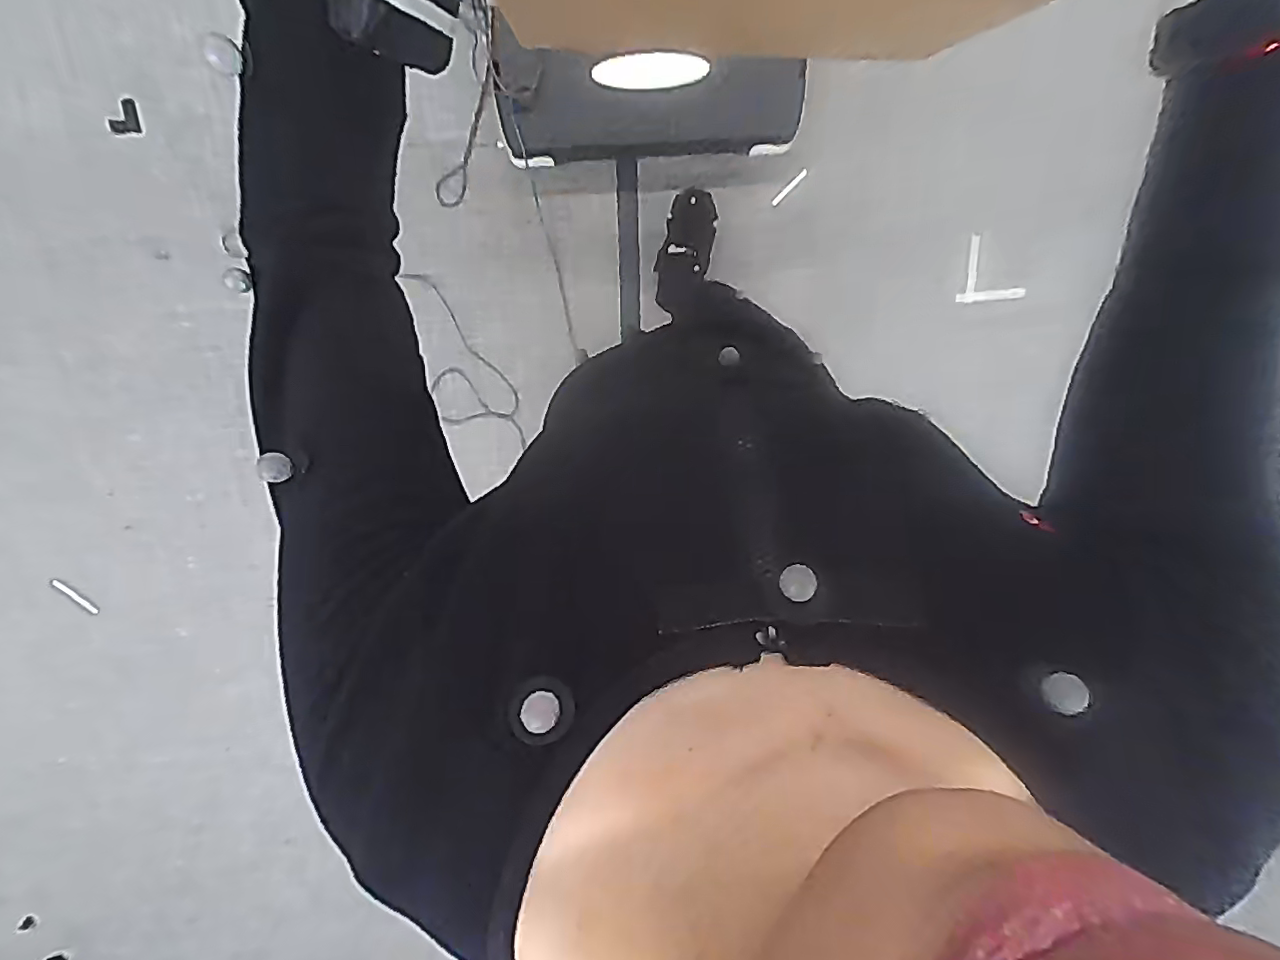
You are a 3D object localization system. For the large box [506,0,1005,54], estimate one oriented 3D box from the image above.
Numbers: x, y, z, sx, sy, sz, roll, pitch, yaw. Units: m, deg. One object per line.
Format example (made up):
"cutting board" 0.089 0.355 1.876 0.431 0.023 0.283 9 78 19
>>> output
"large box" 0.091 -0.498 0.338 0.408 0.320 0.320 -1 117 -3
